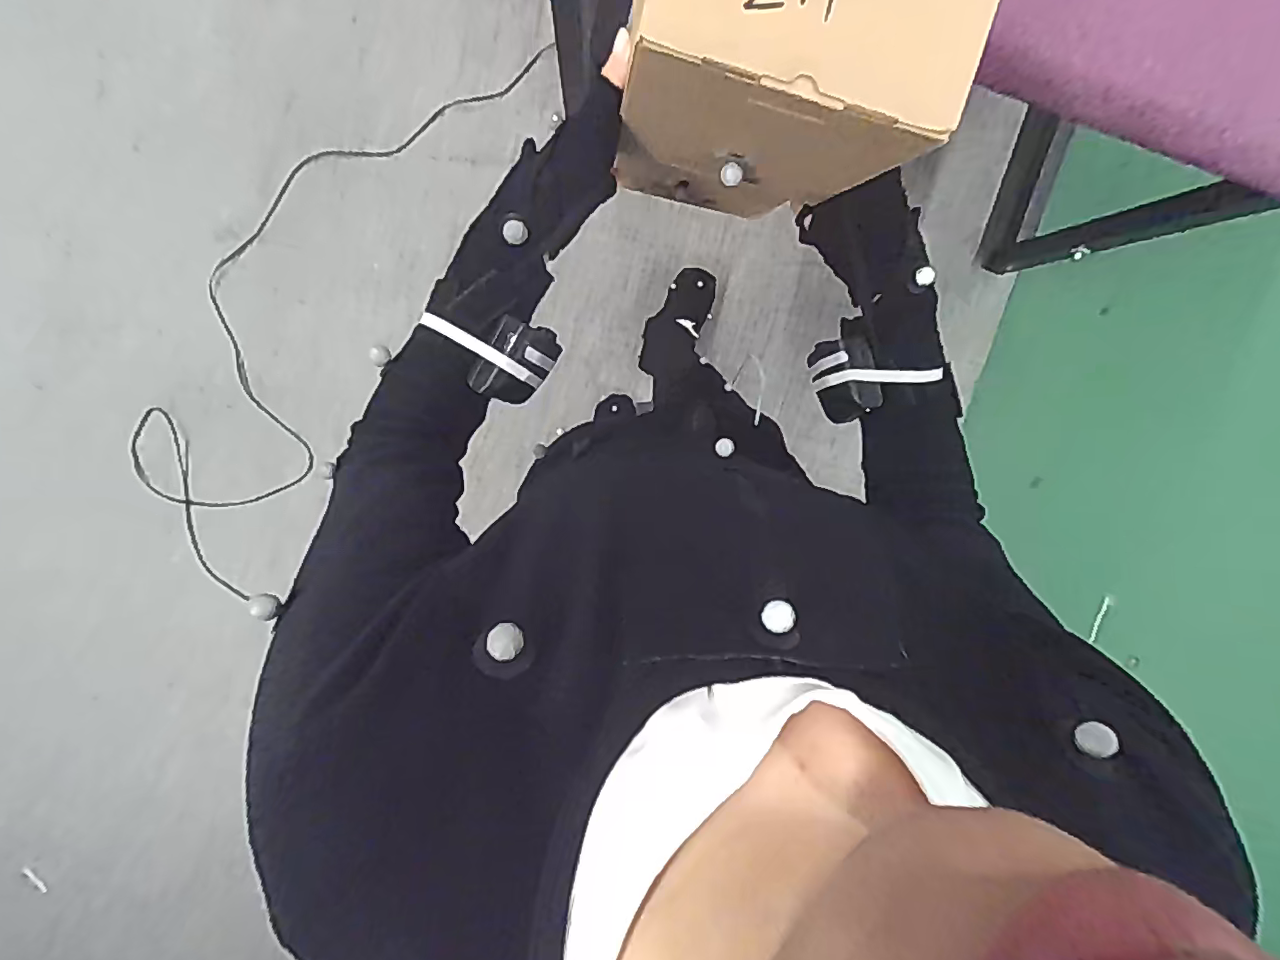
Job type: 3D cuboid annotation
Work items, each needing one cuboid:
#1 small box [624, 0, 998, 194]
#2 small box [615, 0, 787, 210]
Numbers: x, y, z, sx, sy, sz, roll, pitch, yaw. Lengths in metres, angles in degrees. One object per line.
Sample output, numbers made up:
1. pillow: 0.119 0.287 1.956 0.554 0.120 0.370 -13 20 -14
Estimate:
1. small box: 0.090 -0.294 0.314 0.168 0.176 0.179 10 106 -10
2. small box: 0.076 -0.358 0.467 0.168 0.176 0.179 8 106 -10
